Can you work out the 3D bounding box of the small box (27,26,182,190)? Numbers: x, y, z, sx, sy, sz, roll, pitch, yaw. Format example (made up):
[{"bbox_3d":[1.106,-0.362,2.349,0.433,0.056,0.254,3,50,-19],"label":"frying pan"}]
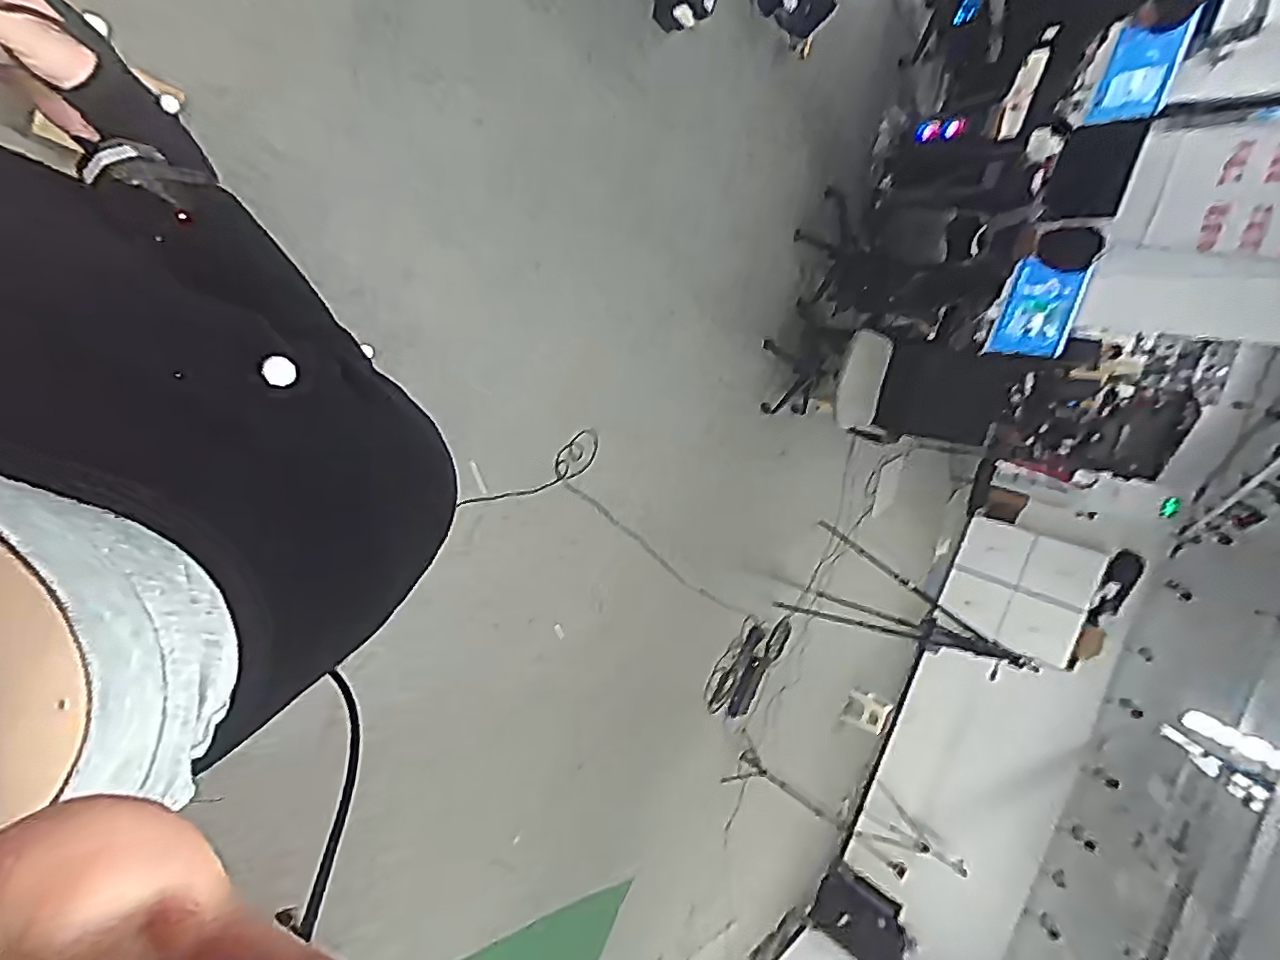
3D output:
[{"bbox_3d":[-0.968,-0.654,0.977,0.168,0.176,0.179,14,97,-50],"label":"small box"}]
